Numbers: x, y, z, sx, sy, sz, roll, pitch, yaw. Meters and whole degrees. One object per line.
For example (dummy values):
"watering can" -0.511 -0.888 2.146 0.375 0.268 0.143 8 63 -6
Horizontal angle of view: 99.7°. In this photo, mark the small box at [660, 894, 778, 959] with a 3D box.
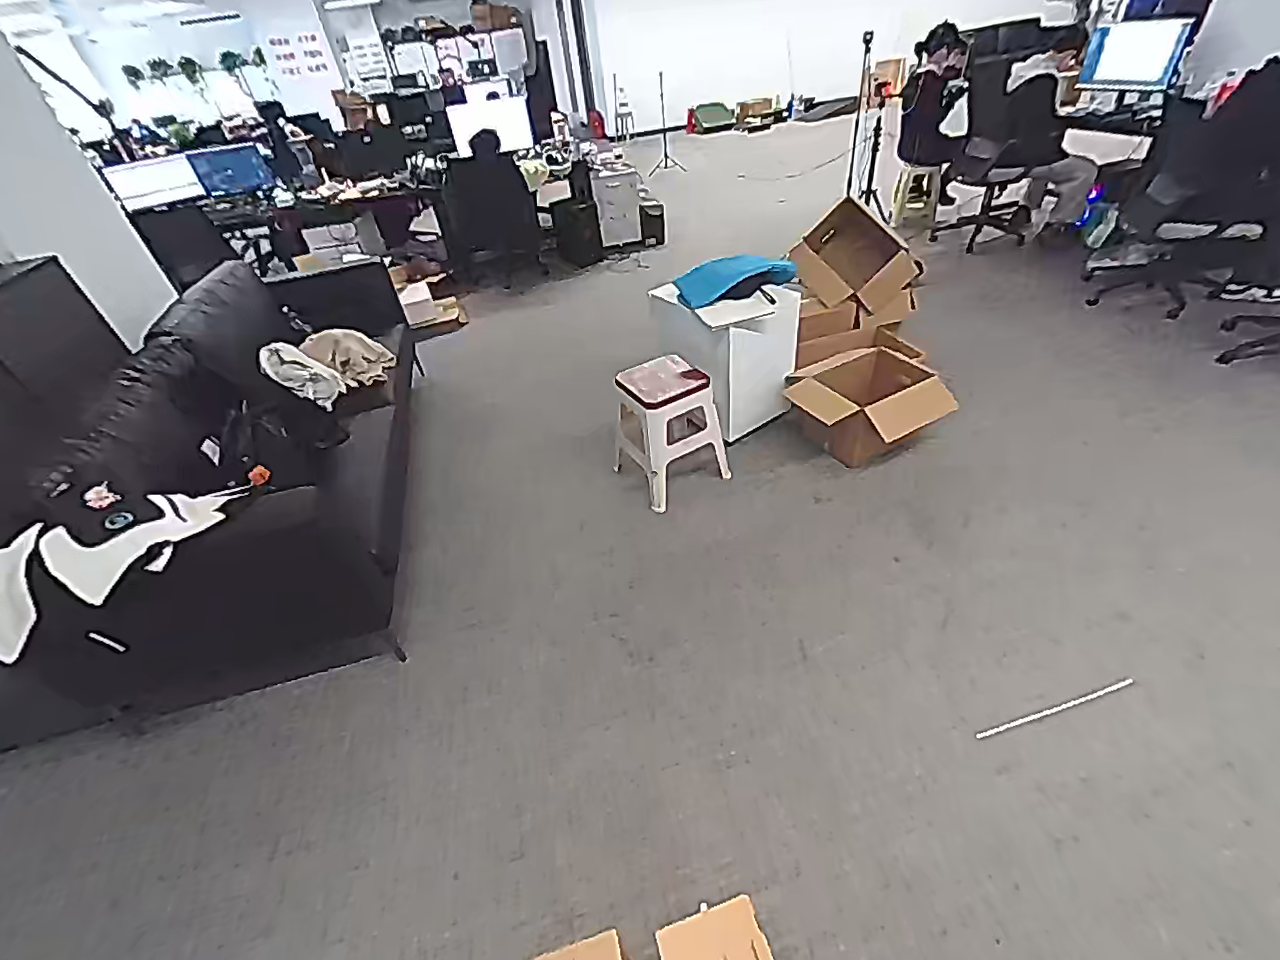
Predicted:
"small box" 0.148 0.854 0.920 0.179 0.176 0.168 -16 40 -9
